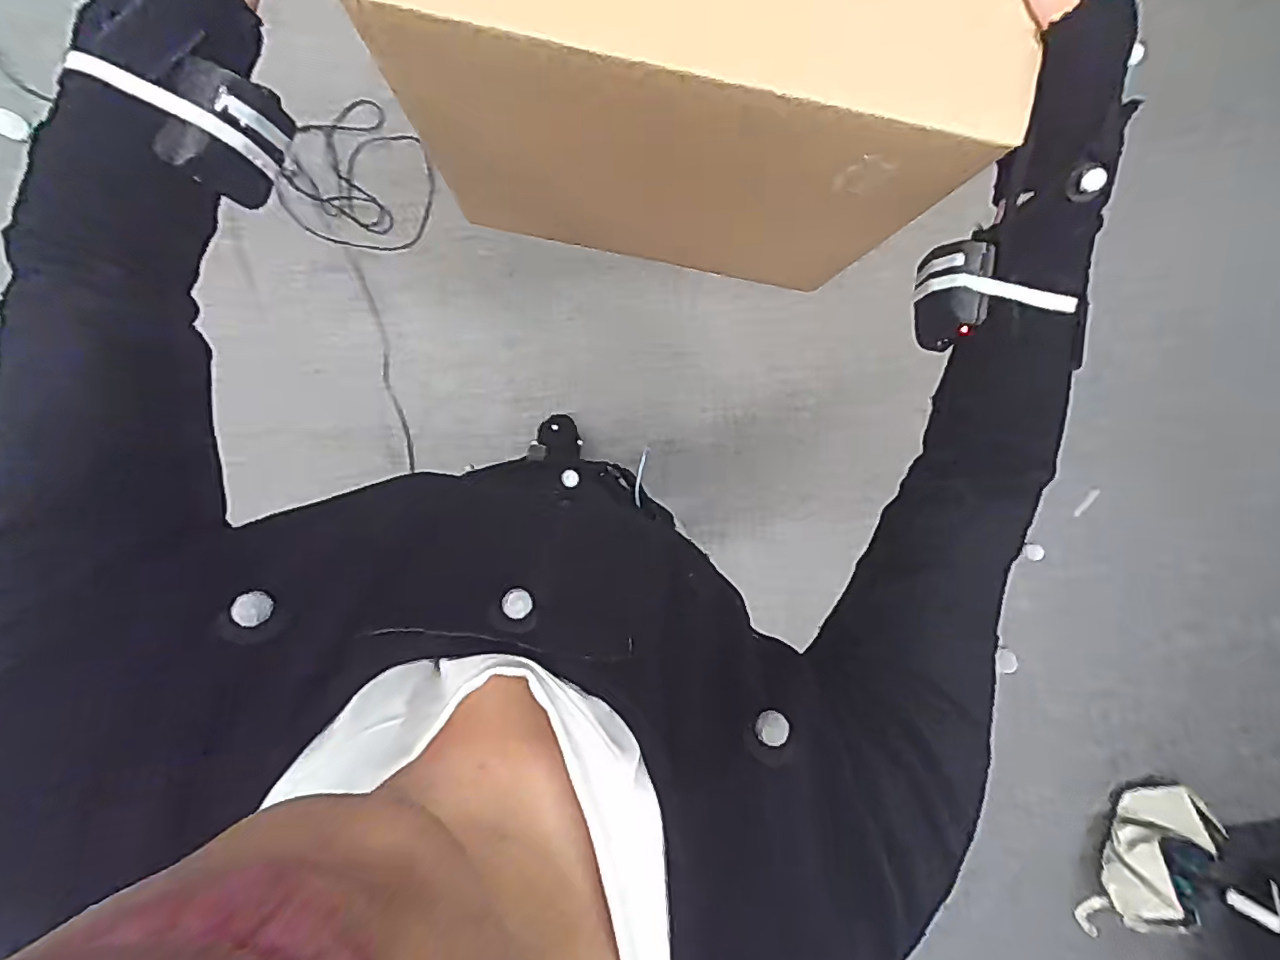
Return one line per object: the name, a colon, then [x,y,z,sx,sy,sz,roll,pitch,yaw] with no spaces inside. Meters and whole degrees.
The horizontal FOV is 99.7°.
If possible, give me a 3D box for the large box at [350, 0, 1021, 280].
large box: [0.034,-0.397,0.459,0.408,0.320,0.320,8,93,-6]
